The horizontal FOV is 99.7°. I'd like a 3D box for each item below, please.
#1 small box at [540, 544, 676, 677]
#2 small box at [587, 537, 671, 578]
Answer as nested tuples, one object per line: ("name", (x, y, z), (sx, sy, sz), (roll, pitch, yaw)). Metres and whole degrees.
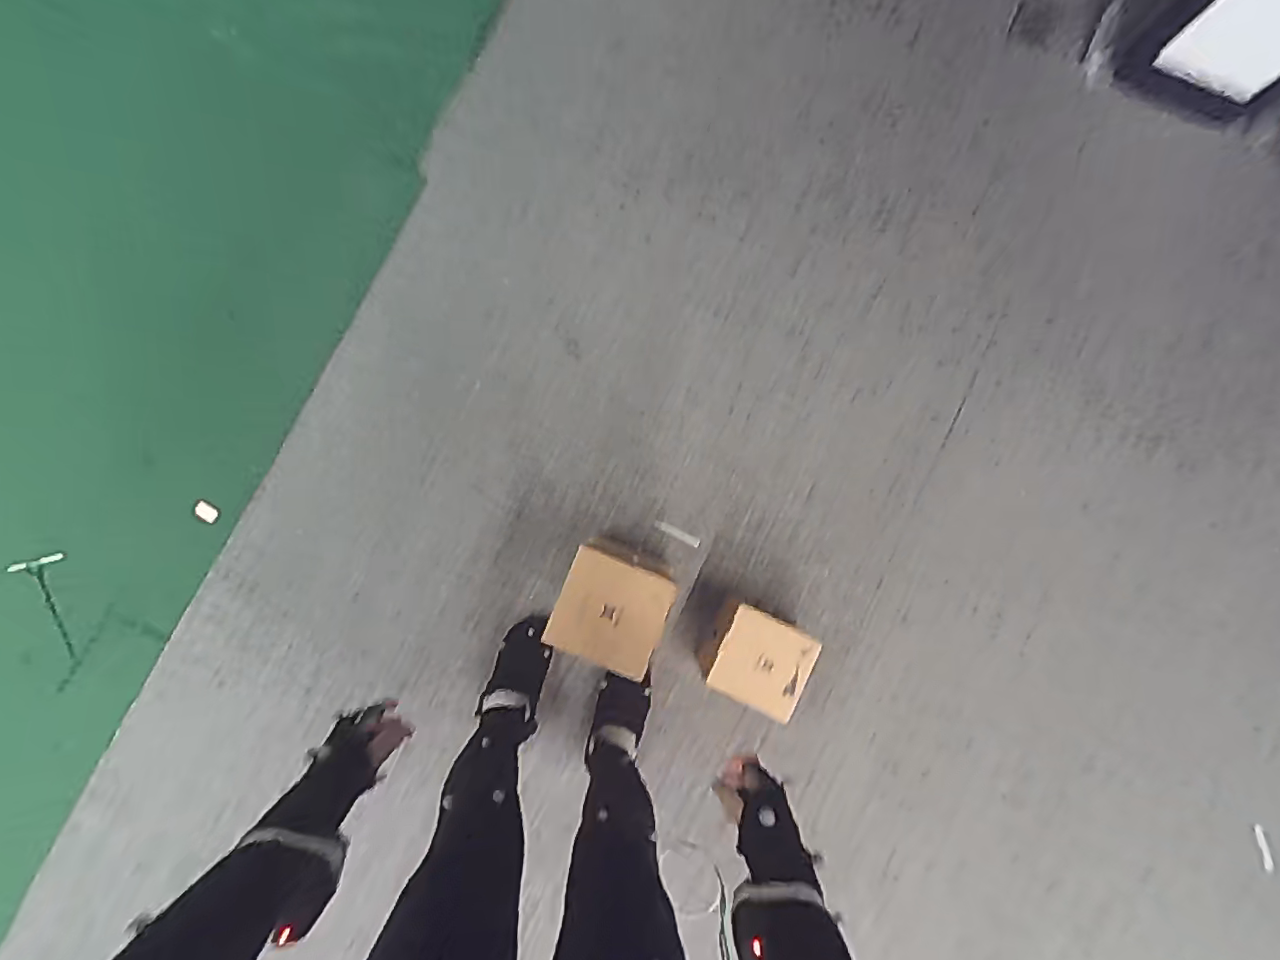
("small box", (-0.051, 0.217, 0.956), (0.179, 0.176, 0.168), (23, 84, 3))
("small box", (-0.050, 0.222, 1.119), (0.179, 0.176, 0.168), (23, 85, 3))
